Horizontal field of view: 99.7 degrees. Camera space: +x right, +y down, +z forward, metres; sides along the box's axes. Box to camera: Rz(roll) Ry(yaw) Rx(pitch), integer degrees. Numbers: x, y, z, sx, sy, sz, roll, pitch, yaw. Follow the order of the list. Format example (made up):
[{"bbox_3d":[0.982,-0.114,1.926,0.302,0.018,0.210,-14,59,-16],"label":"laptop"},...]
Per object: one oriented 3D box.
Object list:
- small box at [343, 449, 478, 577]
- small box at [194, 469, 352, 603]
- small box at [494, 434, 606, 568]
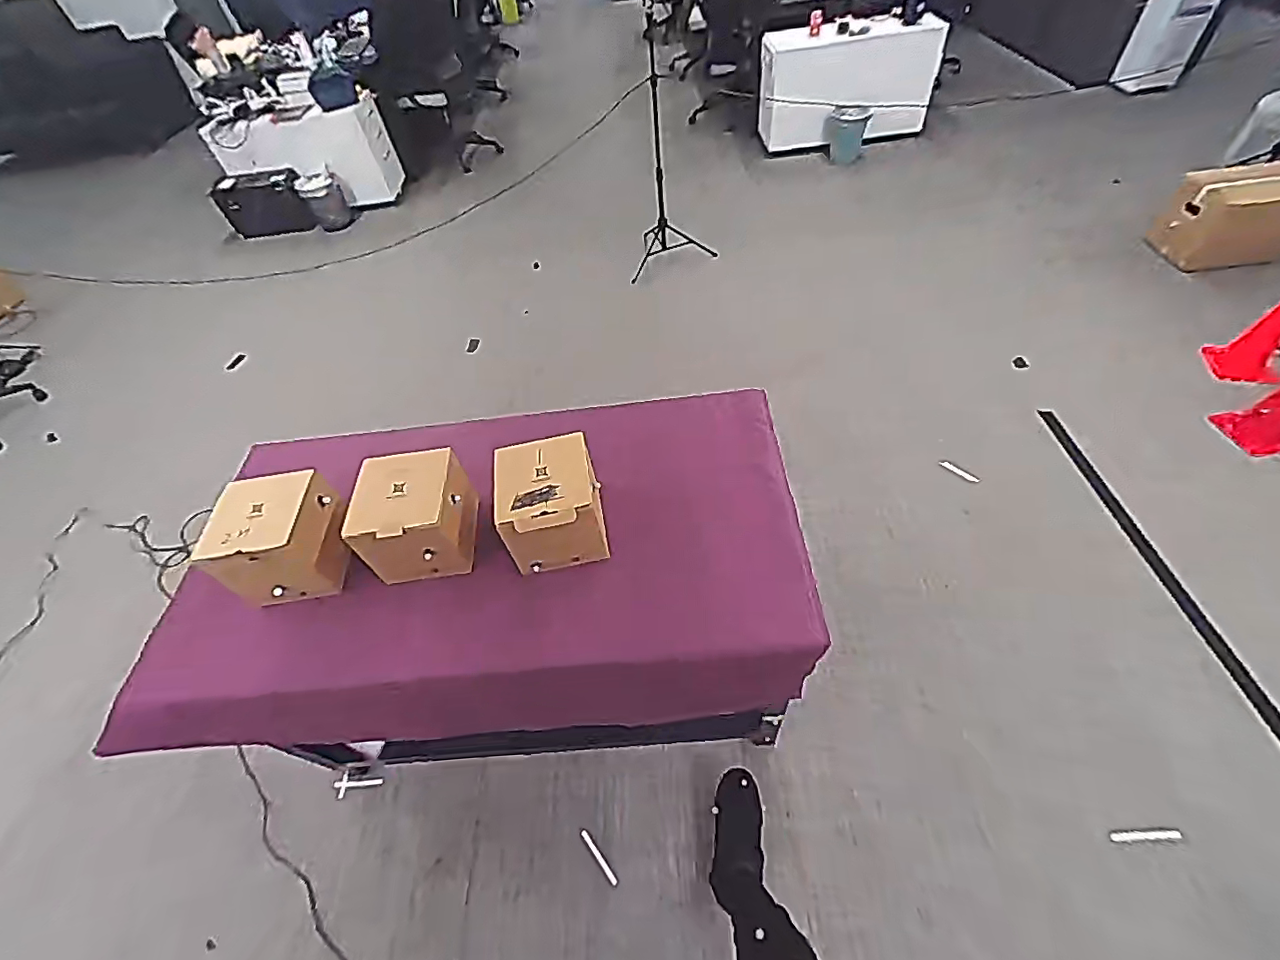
[{"bbox_3d":[-0.414,0.069,1.011,0.168,0.176,0.179,-7,50,1],"label":"small box"},{"bbox_3d":[-0.662,0.107,1.010,0.168,0.176,0.179,-9,51,1],"label":"small box"},{"bbox_3d":[-0.162,0.046,0.993,0.168,0.176,0.179,-11,50,-2],"label":"small box"}]
